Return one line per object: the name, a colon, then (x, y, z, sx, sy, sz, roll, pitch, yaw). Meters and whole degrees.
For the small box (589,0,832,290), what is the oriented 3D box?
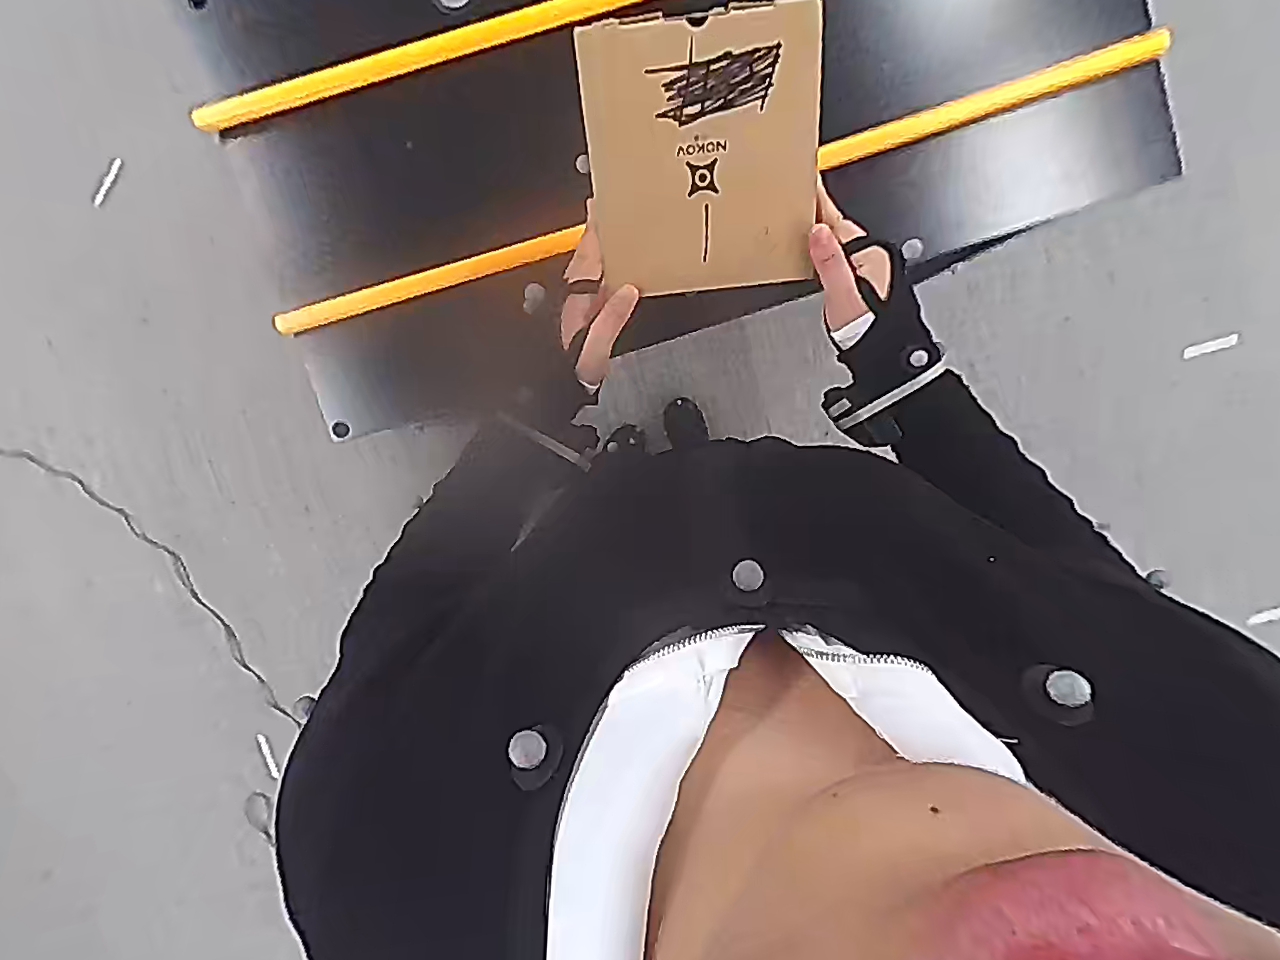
small box: (0.052, -0.268, 0.463, 0.168, 0.176, 0.179, -4, 116, 3)
